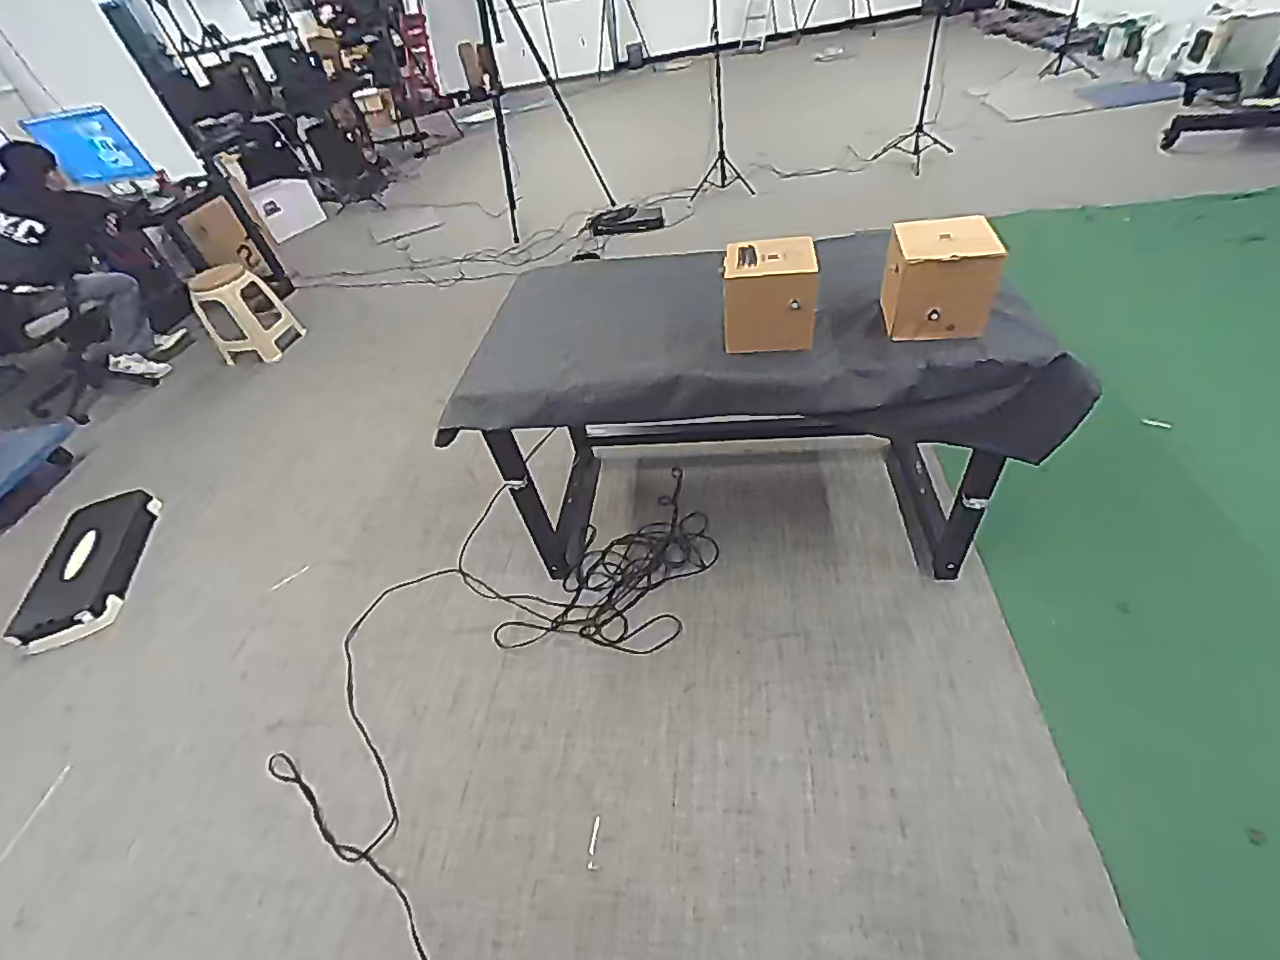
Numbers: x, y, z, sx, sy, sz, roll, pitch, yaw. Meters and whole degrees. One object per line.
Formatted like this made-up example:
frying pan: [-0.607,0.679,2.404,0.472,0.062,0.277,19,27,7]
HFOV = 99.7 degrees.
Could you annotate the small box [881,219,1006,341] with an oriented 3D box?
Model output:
small box: [0.584,-0.393,1.068,0.168,0.176,0.179,1,46,14]
